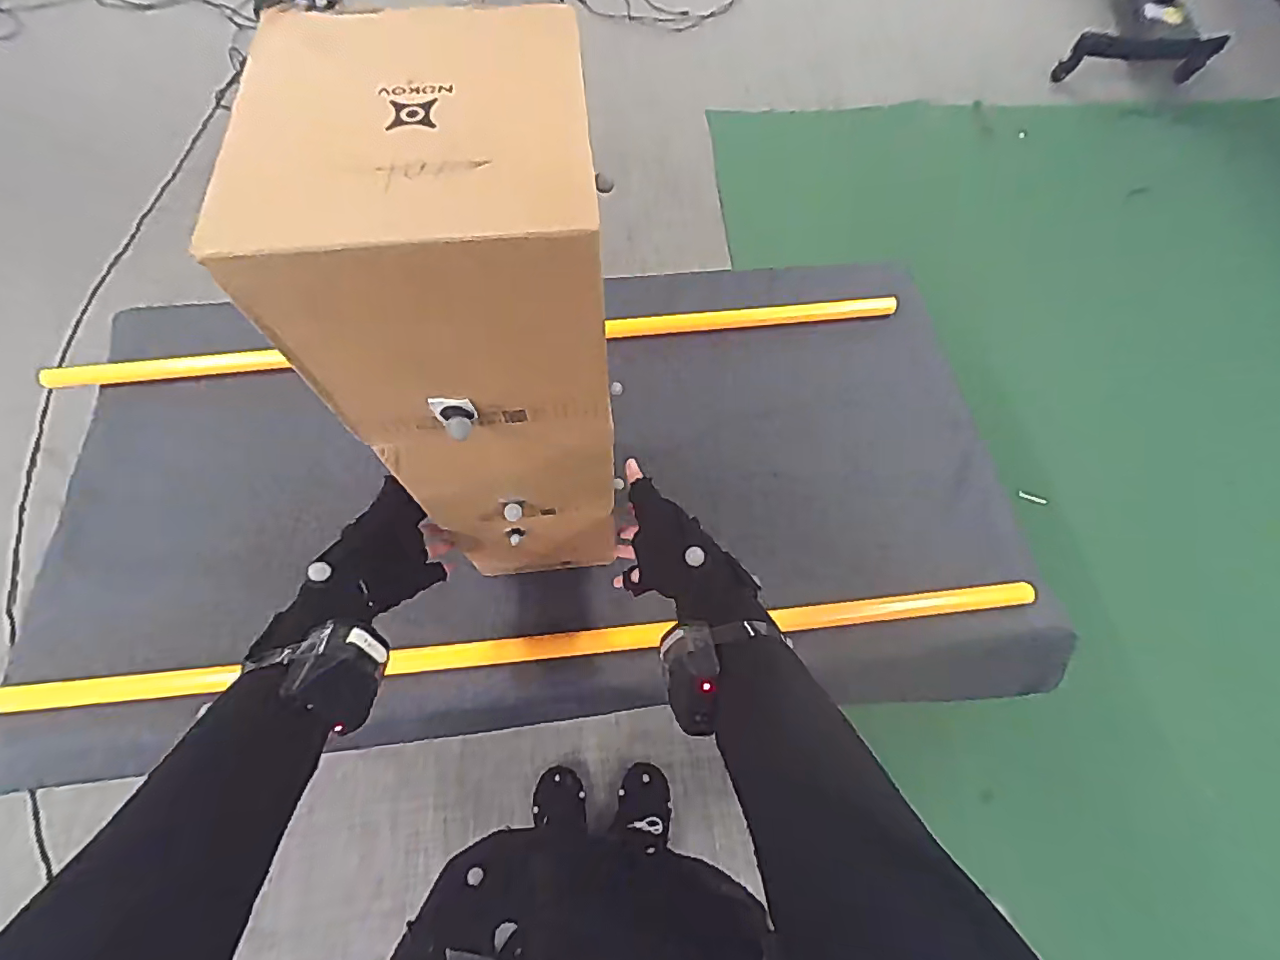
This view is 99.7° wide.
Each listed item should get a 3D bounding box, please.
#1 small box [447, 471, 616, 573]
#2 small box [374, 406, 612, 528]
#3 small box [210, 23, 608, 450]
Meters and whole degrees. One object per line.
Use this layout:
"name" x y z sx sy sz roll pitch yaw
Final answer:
"small box" -0.118 -0.004 0.633 0.168 0.176 0.179 -5 65 -5
"small box" -0.115 -0.072 0.485 0.168 0.176 0.179 -6 66 -5
"small box" -0.110 -0.138 0.337 0.168 0.176 0.179 -6 66 -4
